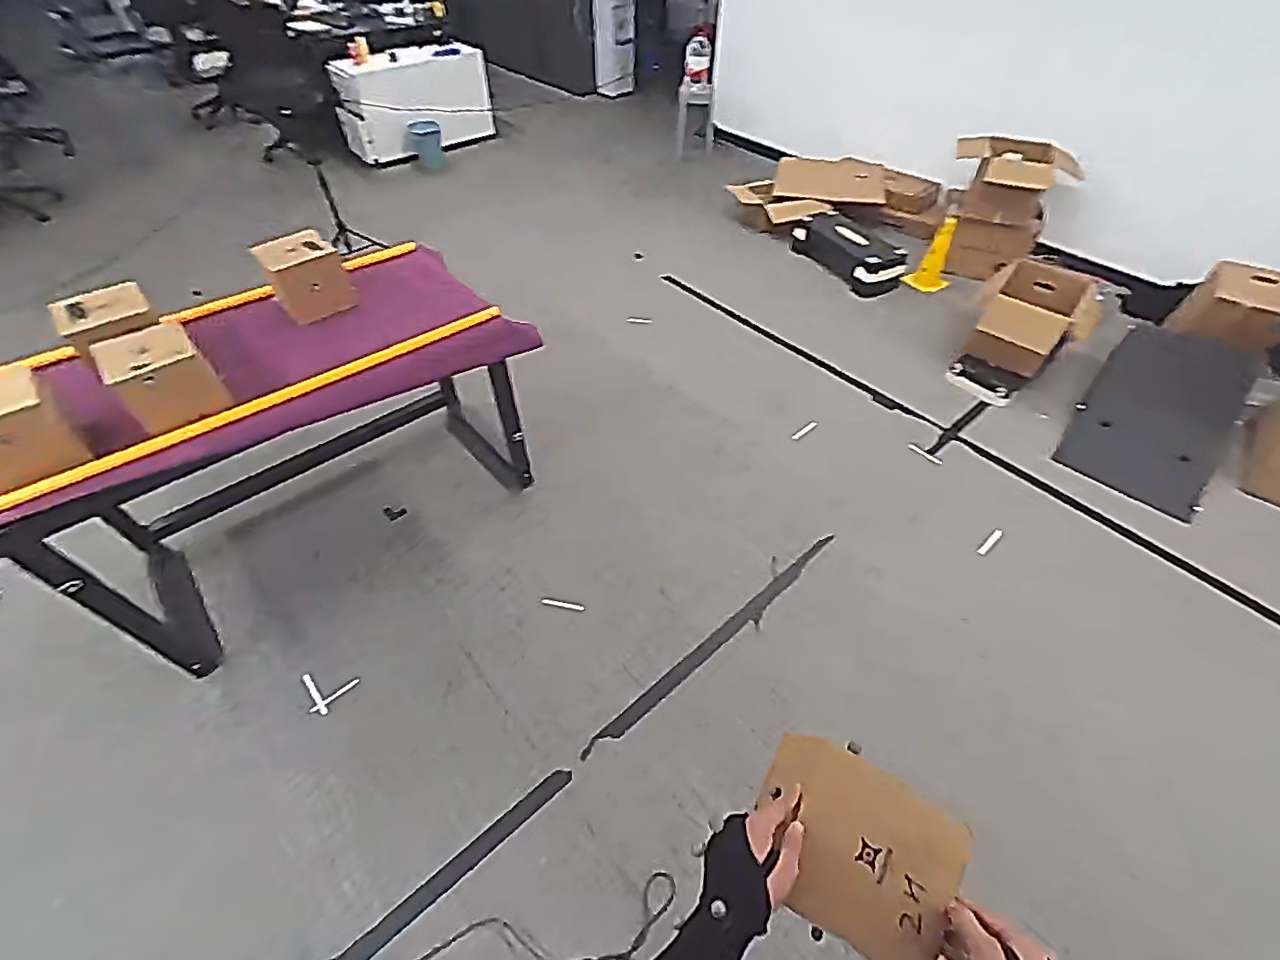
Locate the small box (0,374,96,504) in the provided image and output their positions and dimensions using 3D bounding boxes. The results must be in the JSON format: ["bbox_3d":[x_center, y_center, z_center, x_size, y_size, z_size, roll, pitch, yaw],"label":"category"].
[{"bbox_3d":[-1.293,-0.085,1.126,0.179,0.176,0.168,-34,57,-27],"label":"small box"}]

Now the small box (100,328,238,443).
[{"bbox_3d":[-1.075,-0.216,1.243,0.168,0.176,0.179,-34,57,-25],"label":"small box"}]

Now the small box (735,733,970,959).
[{"bbox_3d":[0.229,0.415,0.625,0.179,0.176,0.168,28,69,8],"label":"small box"}]

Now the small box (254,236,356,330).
[{"bbox_3d":[-0.942,-0.560,1.542,0.179,0.176,0.168,-37,59,-26],"label":"small box"}]
